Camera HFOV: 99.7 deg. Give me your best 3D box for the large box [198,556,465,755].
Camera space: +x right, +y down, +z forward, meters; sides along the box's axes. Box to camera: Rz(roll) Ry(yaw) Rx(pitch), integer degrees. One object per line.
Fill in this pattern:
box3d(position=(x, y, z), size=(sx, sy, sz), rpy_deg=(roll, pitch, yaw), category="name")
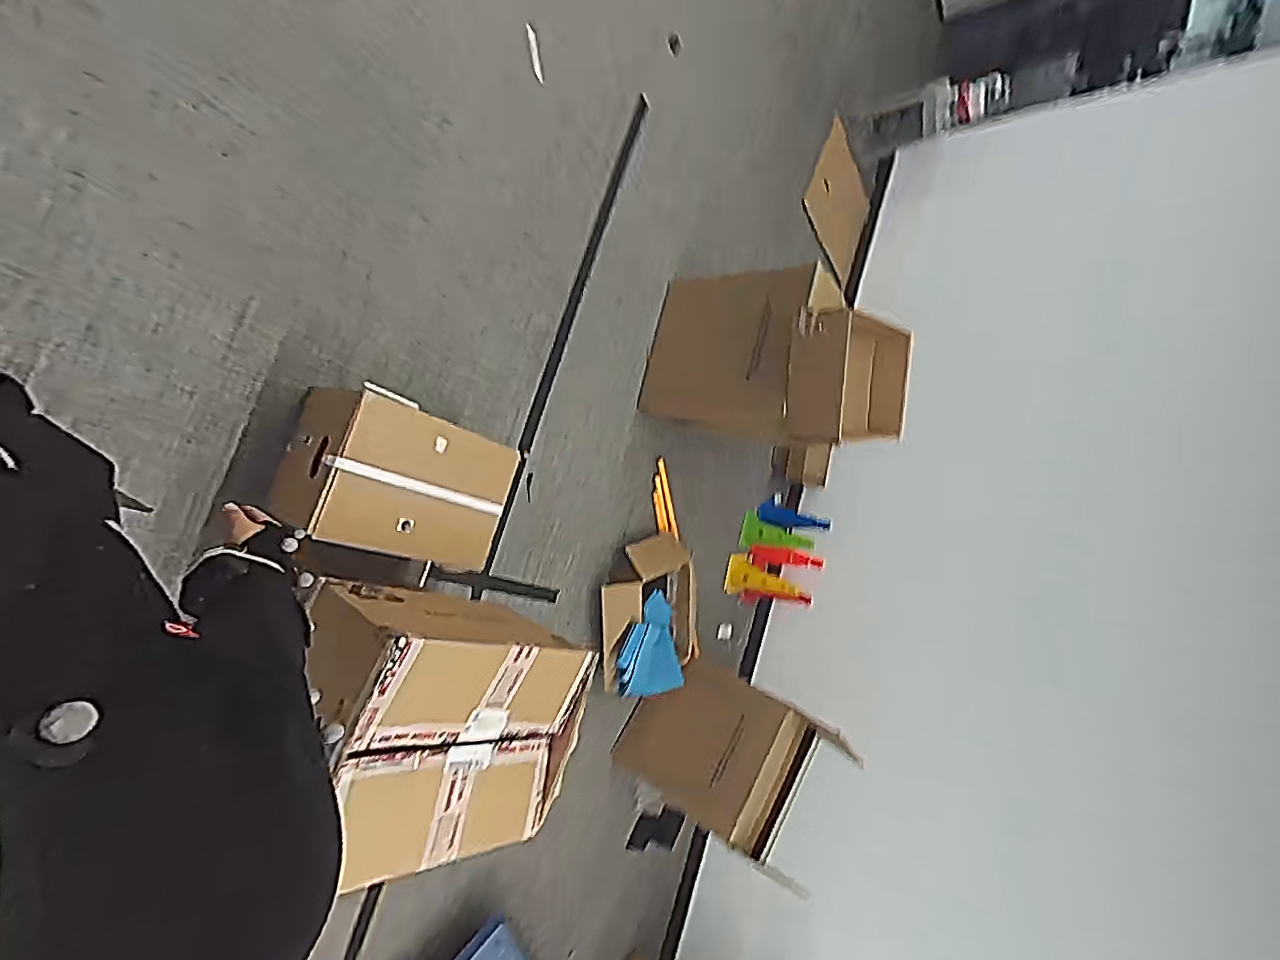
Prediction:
box3d(position=(-0.697, 0.389, 1.248), size=(0.408, 0.320, 0.320), rpy_deg=(26, 79, -48), category="large box")
